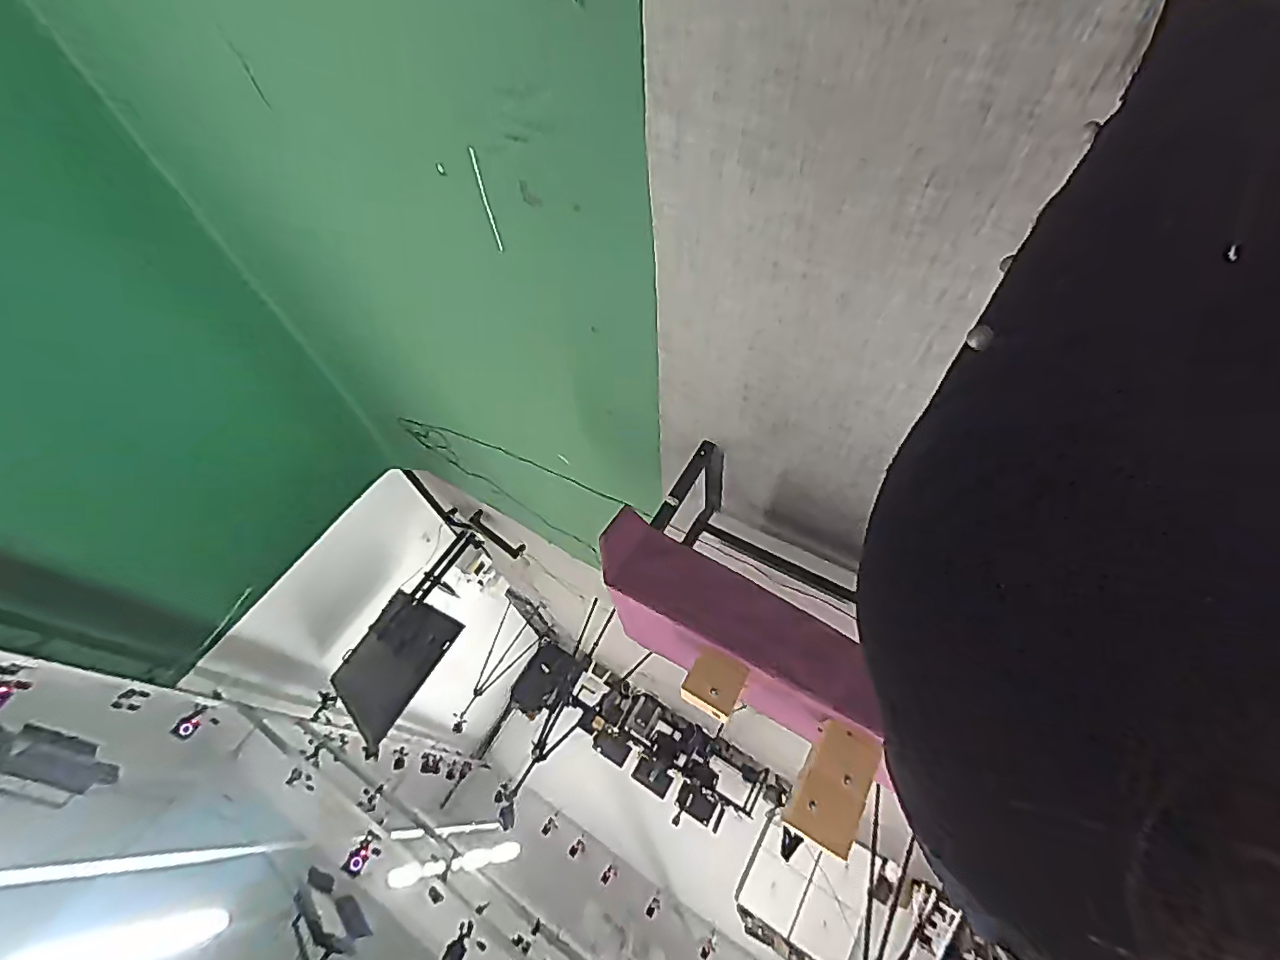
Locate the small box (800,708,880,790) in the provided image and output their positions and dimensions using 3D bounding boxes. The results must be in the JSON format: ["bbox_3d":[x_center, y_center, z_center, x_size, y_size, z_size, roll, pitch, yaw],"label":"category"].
[{"bbox_3d":[0.626,0.839,1.692,0.168,0.176,0.179,26,155,18],"label":"small box"}]

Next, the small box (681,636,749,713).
[{"bbox_3d":[0.255,0.657,1.831,0.179,0.176,0.168,26,155,19],"label":"small box"}]

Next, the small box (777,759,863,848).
[{"bbox_3d":[0.540,0.962,1.626,0.179,0.176,0.168,26,155,17],"label":"small box"}]
